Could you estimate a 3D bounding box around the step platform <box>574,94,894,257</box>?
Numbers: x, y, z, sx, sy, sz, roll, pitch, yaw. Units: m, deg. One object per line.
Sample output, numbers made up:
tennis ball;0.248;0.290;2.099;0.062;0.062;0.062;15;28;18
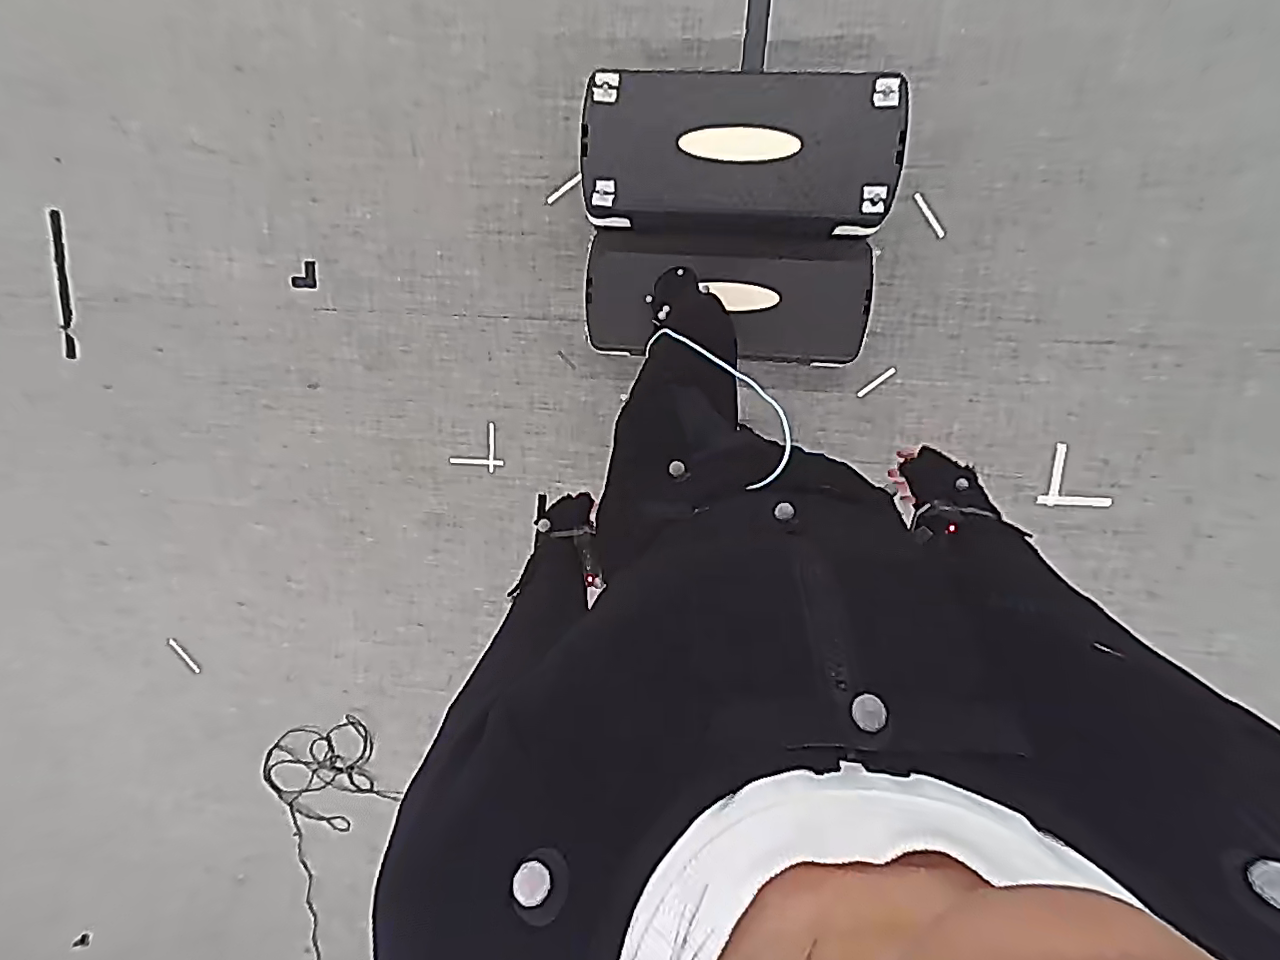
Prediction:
step platform;0.194;-0.676;1.217;0.684;0.204;0.286;3;102;4
